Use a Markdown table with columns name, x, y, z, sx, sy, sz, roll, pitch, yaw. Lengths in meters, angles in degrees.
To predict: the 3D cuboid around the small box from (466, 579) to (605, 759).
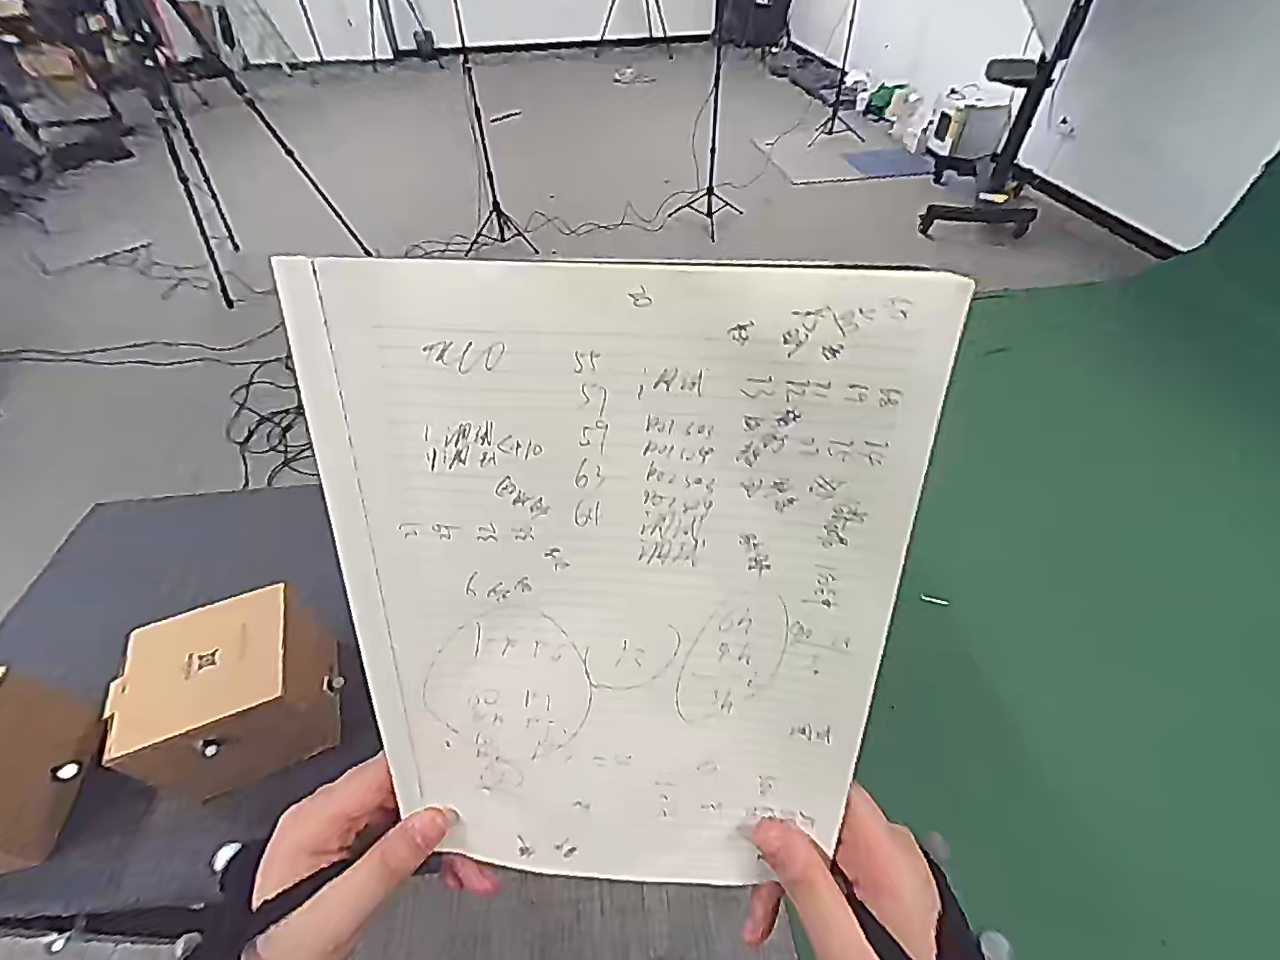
| name | x | y | z | sx | sy | sz | roll | pitch | yaw |
| --- | --- | --- | --- | --- | --- | --- | --- | --- | --- |
| small box | -0.142 | 0.240 | 0.710 | 0.168 | 0.176 | 0.179 | 4 | 48 | 7 |

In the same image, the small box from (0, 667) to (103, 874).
| name | x | y | z | sx | sy | sz | roll | pitch | yaw |
| --- | --- | --- | --- | --- | --- | --- | --- | --- | --- |
| small box | -0.797 | 0.350 | 0.629 | 0.168 | 0.176 | 0.179 | -11 | 48 | -8 |

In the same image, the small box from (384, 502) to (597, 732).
| name | x | y | z | sx | sy | sz | roll | pitch | yaw |
| --- | --- | --- | --- | --- | --- | --- | --- | --- | --- |
| small box | -0.141 | 0.148 | 0.575 | 0.179 | 0.176 | 0.168 | -8 | 47 | -5 |

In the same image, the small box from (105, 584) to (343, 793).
| name | x | y | z | sx | sy | sz | roll | pitch | yaw |
| --- | --- | --- | --- | --- | --- | --- | --- | --- | --- |
| small box | -0.512 | 0.270 | 0.697 | 0.179 | 0.176 | 0.168 | -18 | 50 | -16 |
